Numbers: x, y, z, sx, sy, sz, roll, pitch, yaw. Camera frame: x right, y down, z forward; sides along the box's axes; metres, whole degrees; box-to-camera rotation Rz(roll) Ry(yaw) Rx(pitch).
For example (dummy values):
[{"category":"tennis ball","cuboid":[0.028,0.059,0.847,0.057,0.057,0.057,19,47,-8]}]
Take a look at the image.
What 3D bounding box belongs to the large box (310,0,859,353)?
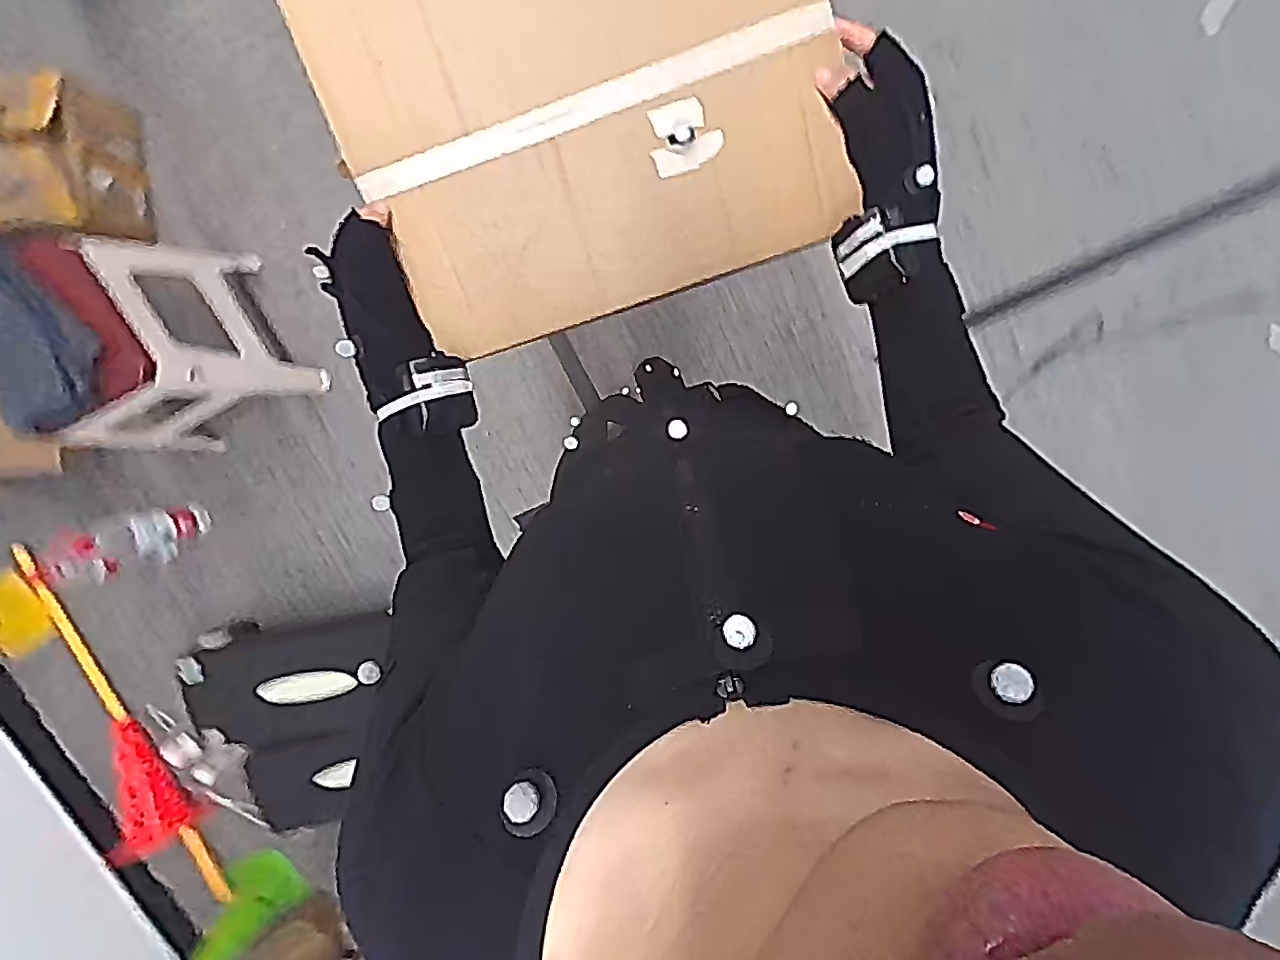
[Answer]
[{"category":"large box","cuboid":[-0.038,-0.360,0.600,0.408,0.320,0.320,-17,108,4]}]
